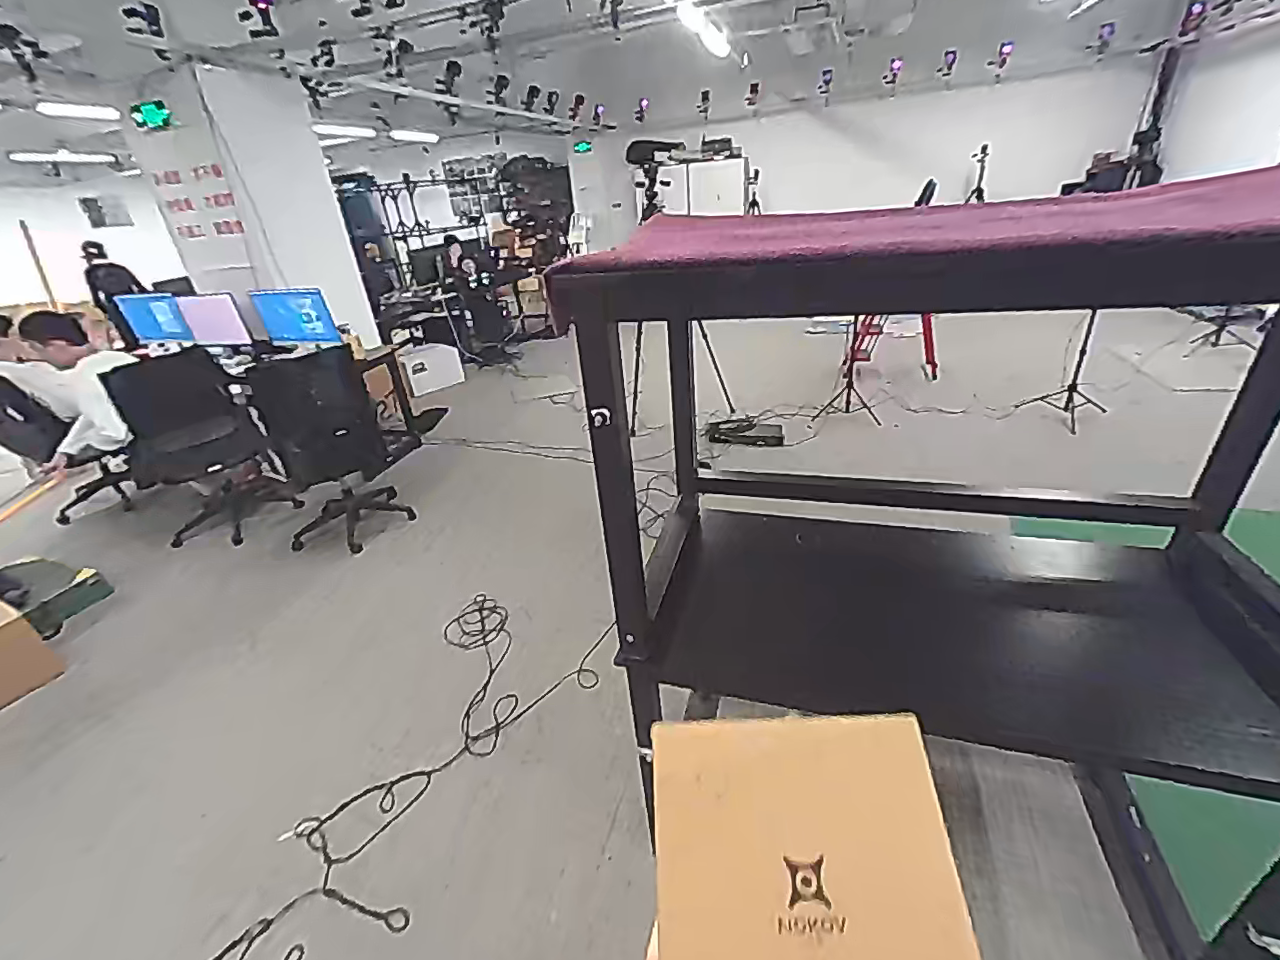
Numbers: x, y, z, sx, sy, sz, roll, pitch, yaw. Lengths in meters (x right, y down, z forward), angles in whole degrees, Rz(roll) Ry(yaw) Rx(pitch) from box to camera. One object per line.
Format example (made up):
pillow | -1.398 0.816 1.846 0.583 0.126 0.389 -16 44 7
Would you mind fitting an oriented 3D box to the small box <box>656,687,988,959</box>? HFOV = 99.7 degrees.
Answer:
small box | 0.094 0.247 0.360 0.168 0.176 0.179 -3 58 3
